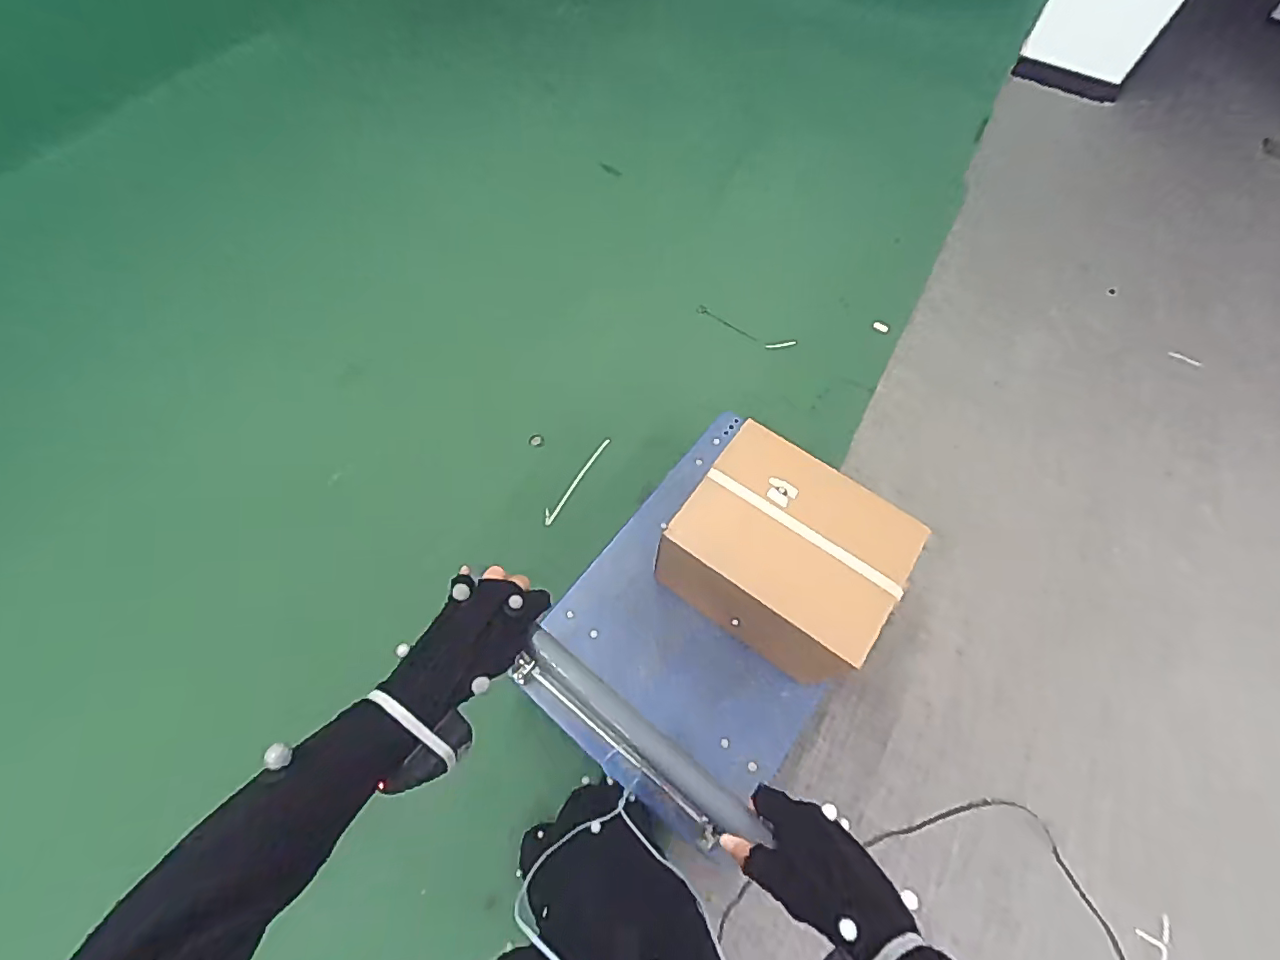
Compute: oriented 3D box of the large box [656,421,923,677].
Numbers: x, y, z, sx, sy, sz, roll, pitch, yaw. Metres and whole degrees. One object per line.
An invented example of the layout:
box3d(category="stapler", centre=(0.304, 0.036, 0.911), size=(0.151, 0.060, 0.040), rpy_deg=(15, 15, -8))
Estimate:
box3d(category="large box", centre=(0.282, 0.156, 1.136), size=(0.408, 0.320, 0.320), rpy_deg=(34, 68, 15))
